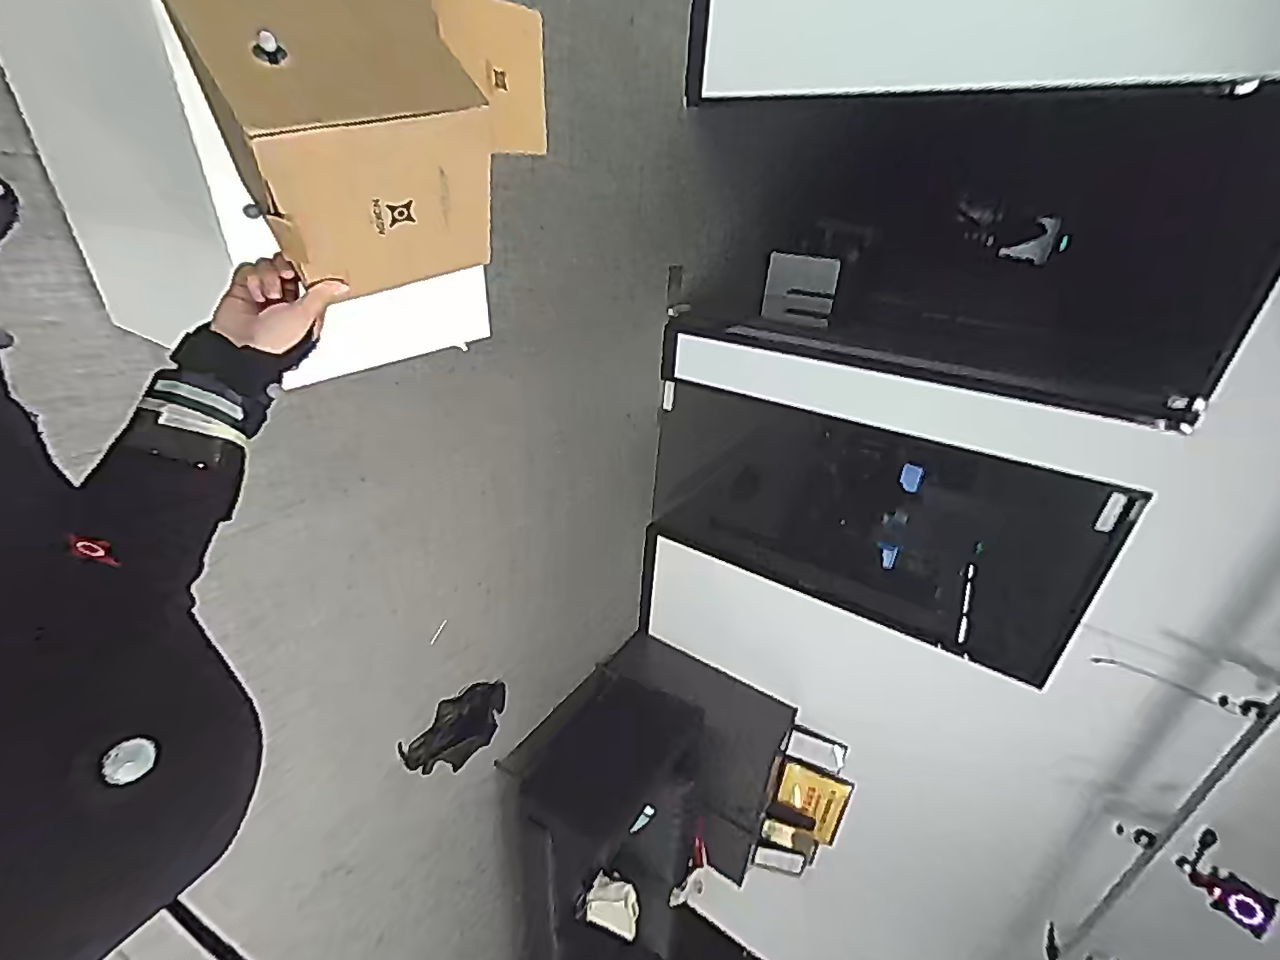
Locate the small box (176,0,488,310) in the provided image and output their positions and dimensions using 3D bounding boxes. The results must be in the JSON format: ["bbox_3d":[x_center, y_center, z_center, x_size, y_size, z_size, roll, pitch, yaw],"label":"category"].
[{"bbox_3d":[-0.250,-0.287,0.466,0.179,0.176,0.168,-30,168,-24],"label":"small box"}]

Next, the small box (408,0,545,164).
[{"bbox_3d":[-0.252,-0.535,0.739,0.179,0.176,0.168,-35,138,-46],"label":"small box"}]
